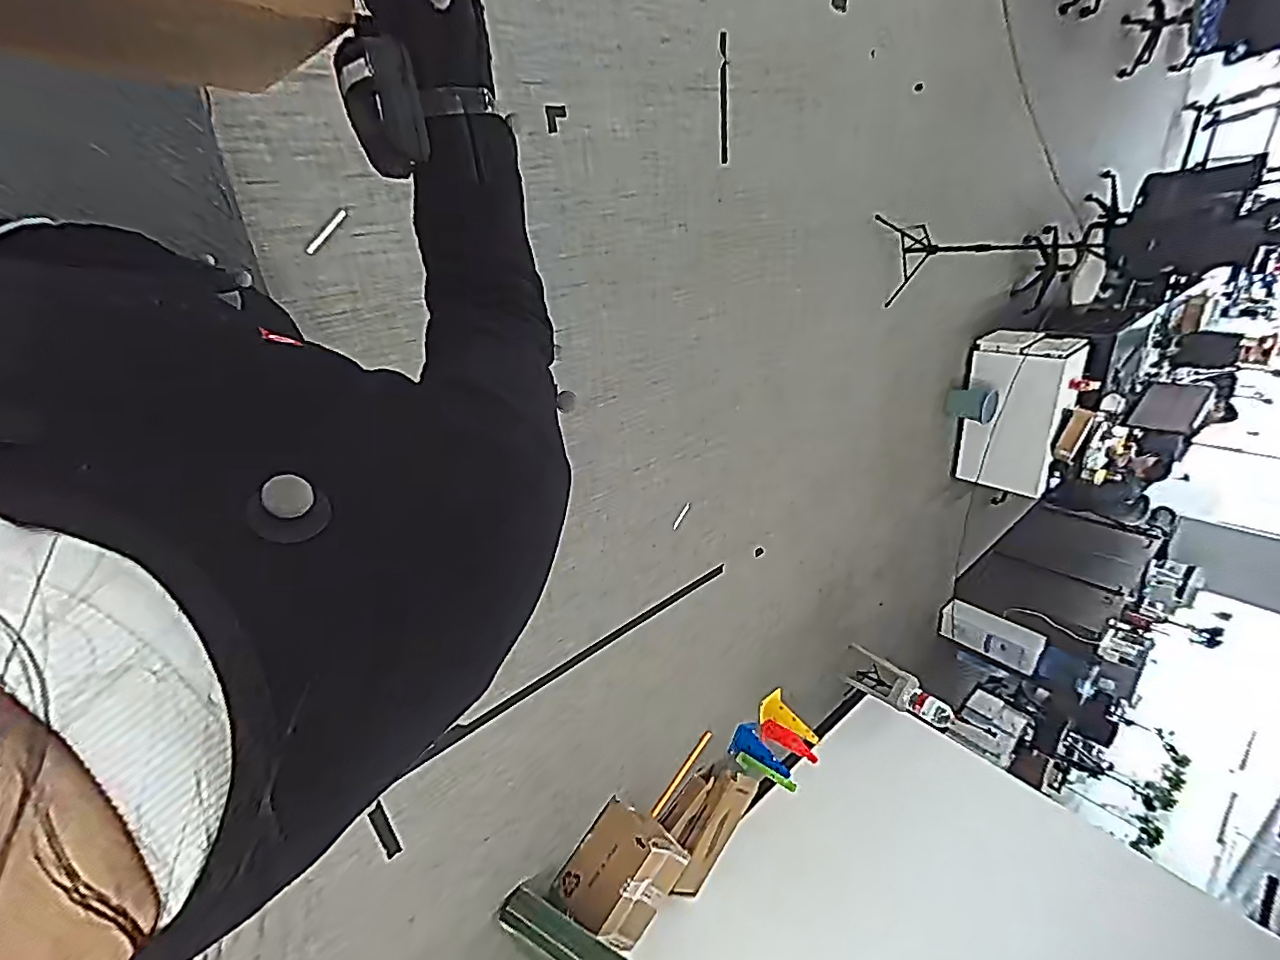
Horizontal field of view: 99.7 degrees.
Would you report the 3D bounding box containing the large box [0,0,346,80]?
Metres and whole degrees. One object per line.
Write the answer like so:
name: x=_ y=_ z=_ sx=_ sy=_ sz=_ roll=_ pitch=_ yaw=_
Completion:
large box: x=-0.409 y=-0.398 z=0.222 sx=0.408 sy=0.320 sz=0.320 roll=-20 pitch=125 yaw=-36
